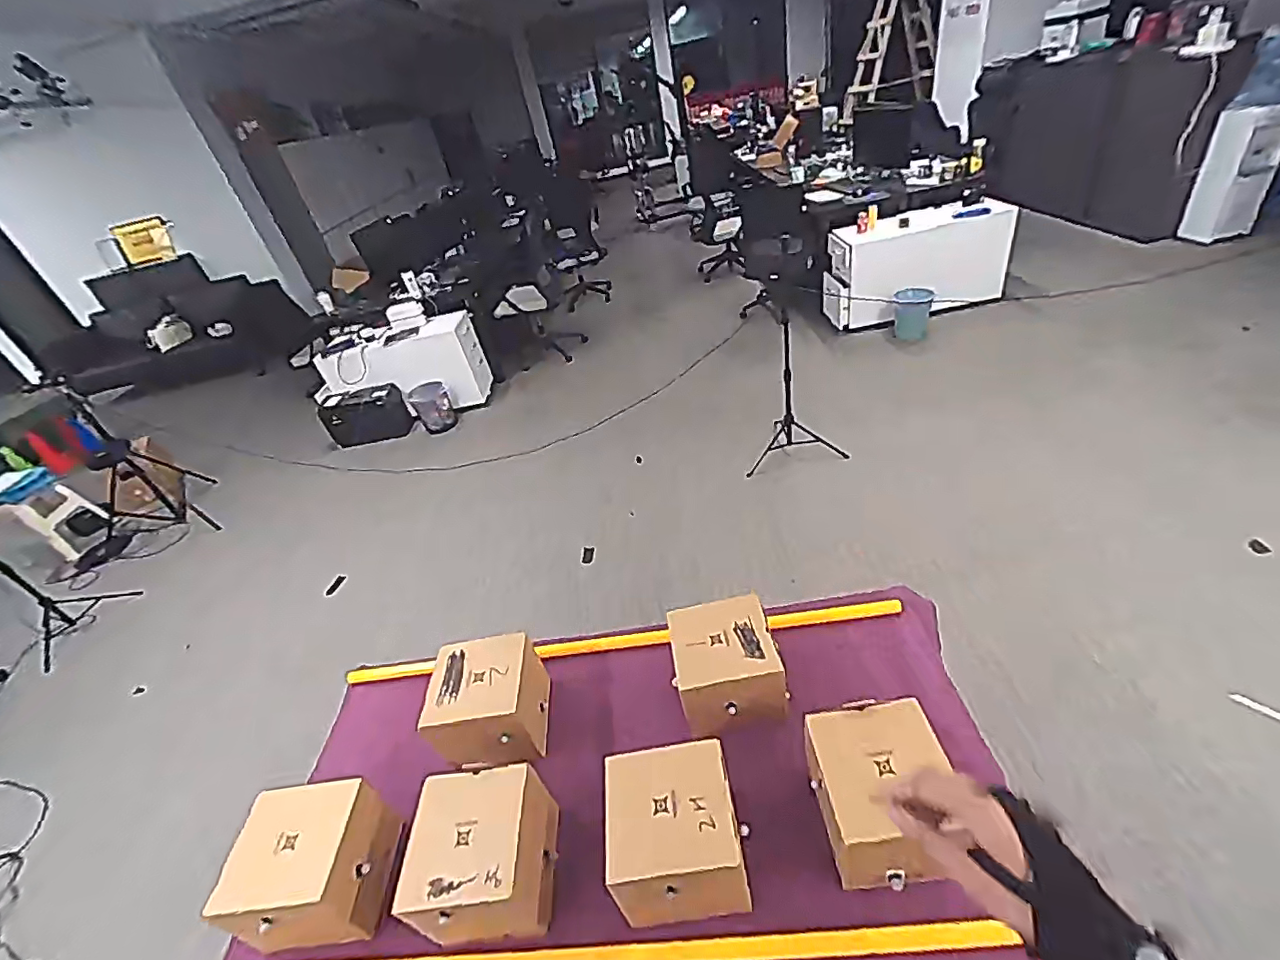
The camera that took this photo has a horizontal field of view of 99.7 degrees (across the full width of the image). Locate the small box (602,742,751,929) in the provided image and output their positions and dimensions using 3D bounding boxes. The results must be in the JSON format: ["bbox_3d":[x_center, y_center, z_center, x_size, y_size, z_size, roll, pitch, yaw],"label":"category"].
[{"bbox_3d":[0.051,0.511,0.776,0.179,0.176,0.168,-11,35,4],"label":"small box"}]

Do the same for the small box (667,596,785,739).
[{"bbox_3d":[0.155,0.339,0.973,0.179,0.176,0.168,-13,37,4],"label":"small box"}]

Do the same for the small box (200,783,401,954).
[{"bbox_3d":[-0.505,0.604,0.841,0.179,0.176,0.168,-10,36,3],"label":"small box"}]

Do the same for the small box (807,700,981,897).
[{"bbox_3d":[0.342,0.446,0.763,0.168,0.176,0.179,-12,34,6],"label":"small box"}]

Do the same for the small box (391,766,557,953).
[{"bbox_3d":[-0.230,0.562,0.804,0.168,0.176,0.179,-12,35,6],"label":"small box"}]
